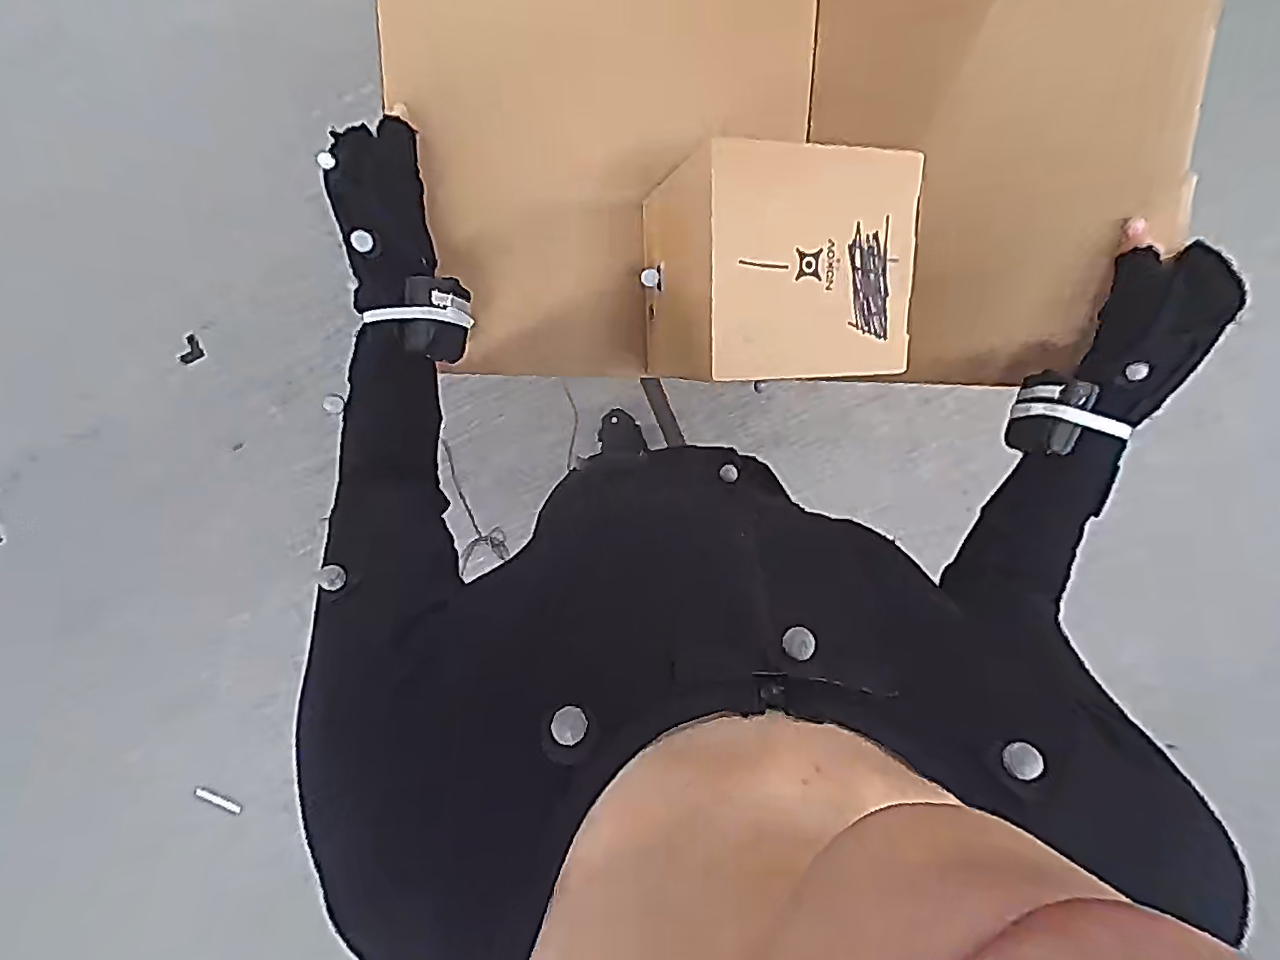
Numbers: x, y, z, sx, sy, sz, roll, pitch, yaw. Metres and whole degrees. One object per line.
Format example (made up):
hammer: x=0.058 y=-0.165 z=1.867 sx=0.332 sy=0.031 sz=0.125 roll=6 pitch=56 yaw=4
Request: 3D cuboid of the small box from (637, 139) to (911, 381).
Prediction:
small box: x=0.105 y=-0.179 z=0.484 sx=0.179 sy=0.176 sz=0.168 roll=-6 pitch=104 yaw=-14
